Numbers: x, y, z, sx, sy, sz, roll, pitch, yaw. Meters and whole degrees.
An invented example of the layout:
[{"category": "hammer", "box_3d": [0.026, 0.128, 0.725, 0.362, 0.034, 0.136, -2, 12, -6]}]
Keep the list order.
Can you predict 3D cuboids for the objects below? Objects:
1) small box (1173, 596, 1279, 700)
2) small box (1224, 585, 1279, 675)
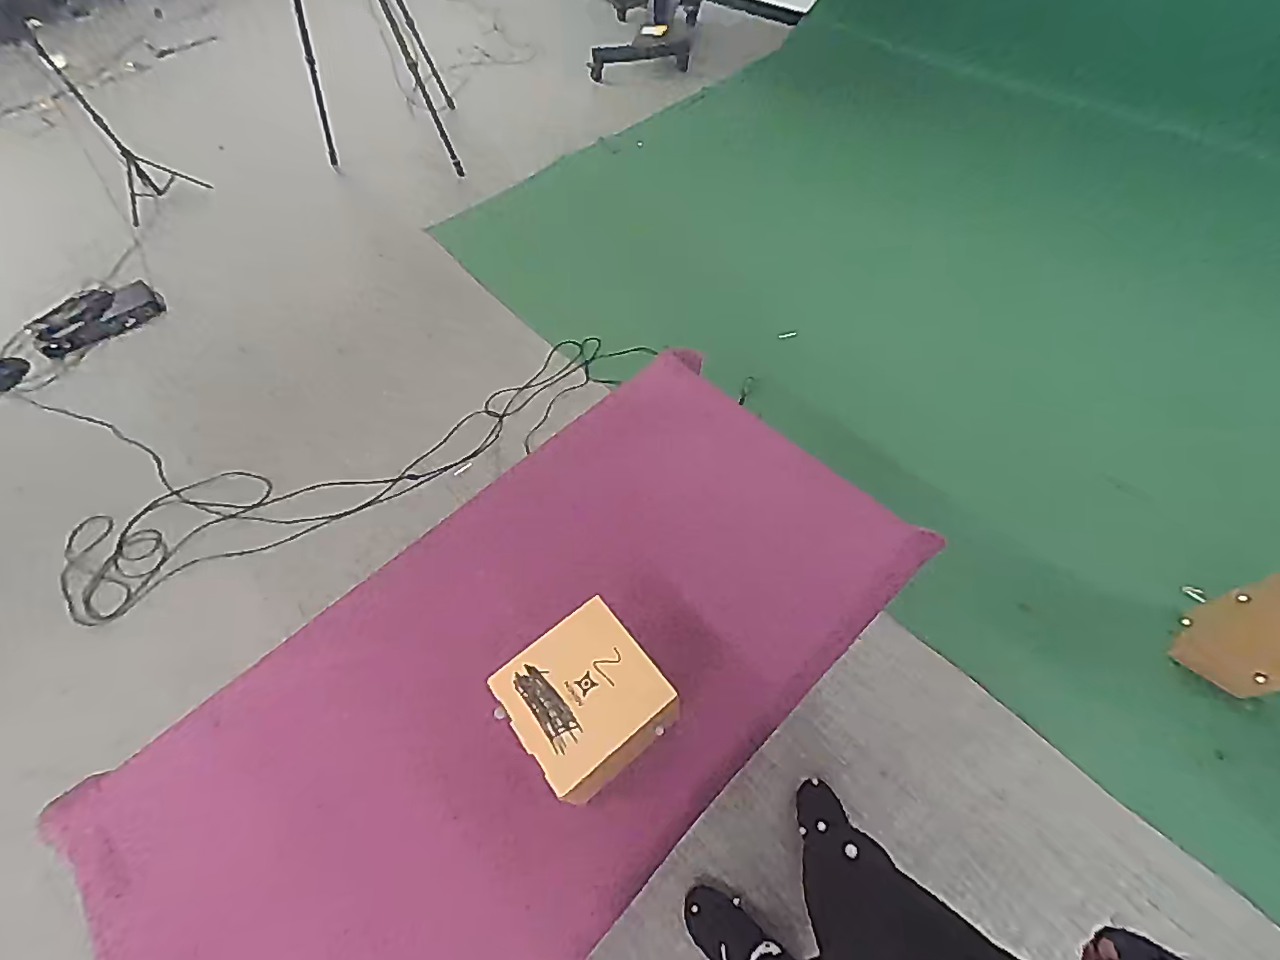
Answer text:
[{"category": "small box", "box_3d": [1.527, 0.431, 1.363, 0.179, 0.176, 0.168, 38, 67, 24]}, {"category": "small box", "box_3d": [1.516, 0.345, 1.227, 0.168, 0.176, 0.179, -41, 63, -19]}]
